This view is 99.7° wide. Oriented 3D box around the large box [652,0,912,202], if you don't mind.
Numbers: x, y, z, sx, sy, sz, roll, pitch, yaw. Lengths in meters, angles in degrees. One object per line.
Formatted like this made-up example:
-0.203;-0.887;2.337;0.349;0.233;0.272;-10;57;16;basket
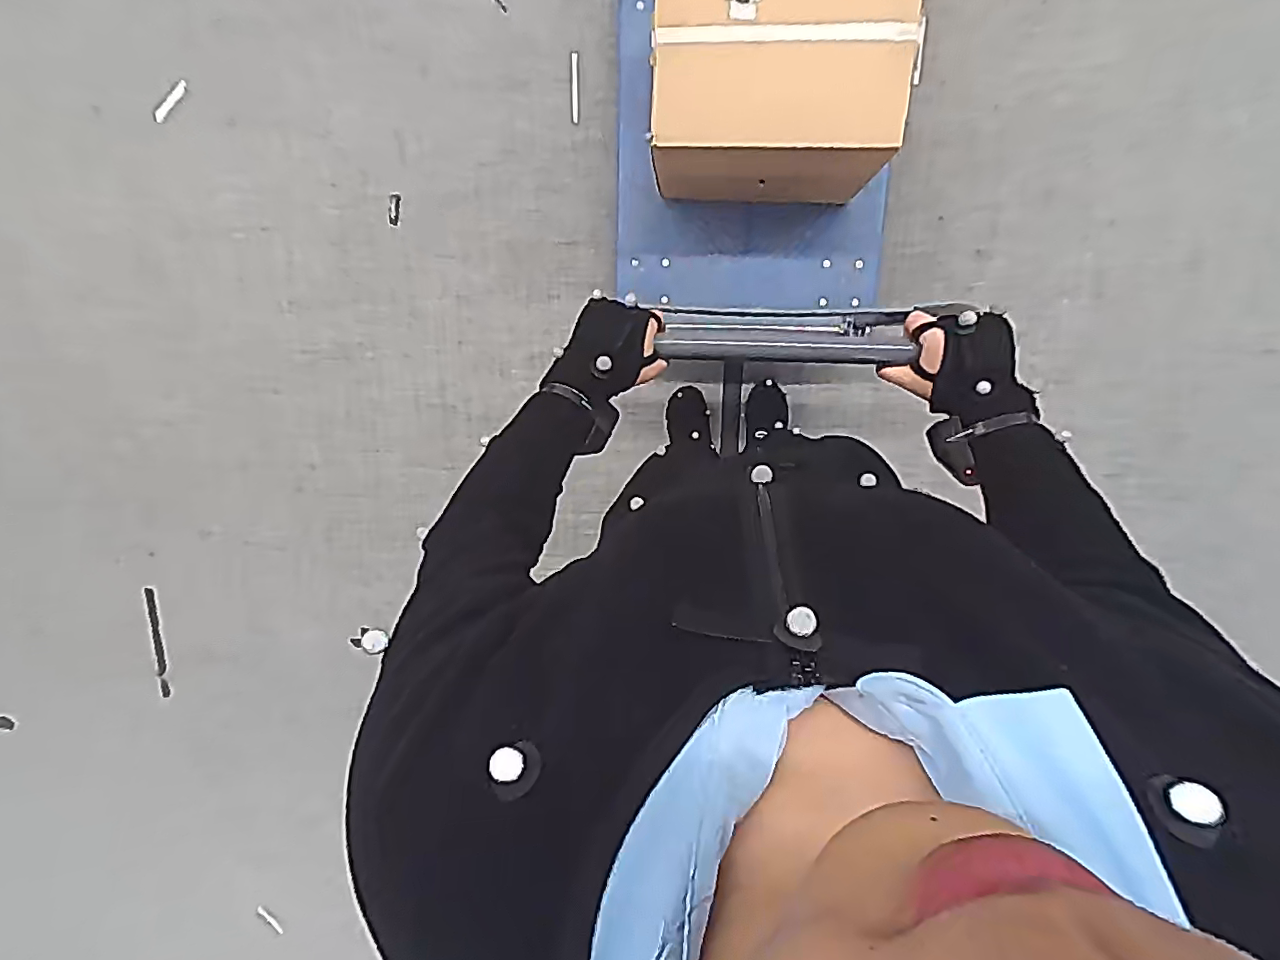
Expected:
0.239;-0.725;1.006;0.408;0.320;0.320;3;102;6;large box
